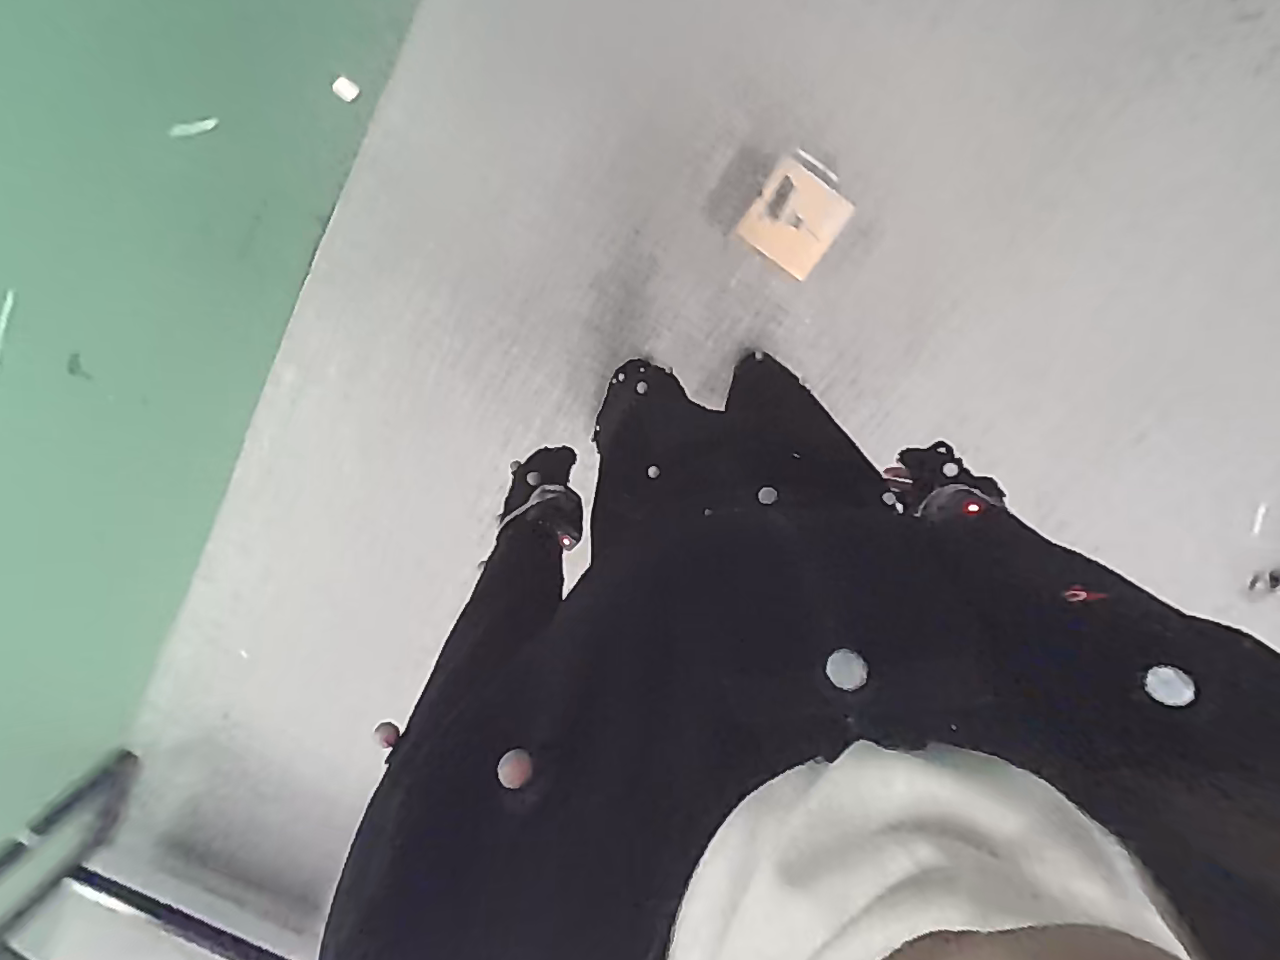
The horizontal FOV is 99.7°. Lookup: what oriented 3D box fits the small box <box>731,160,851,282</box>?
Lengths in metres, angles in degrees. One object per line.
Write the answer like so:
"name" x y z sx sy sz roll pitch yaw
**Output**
"small box" 0.311 -0.542 1.162 0.179 0.176 0.168 34 109 -7
